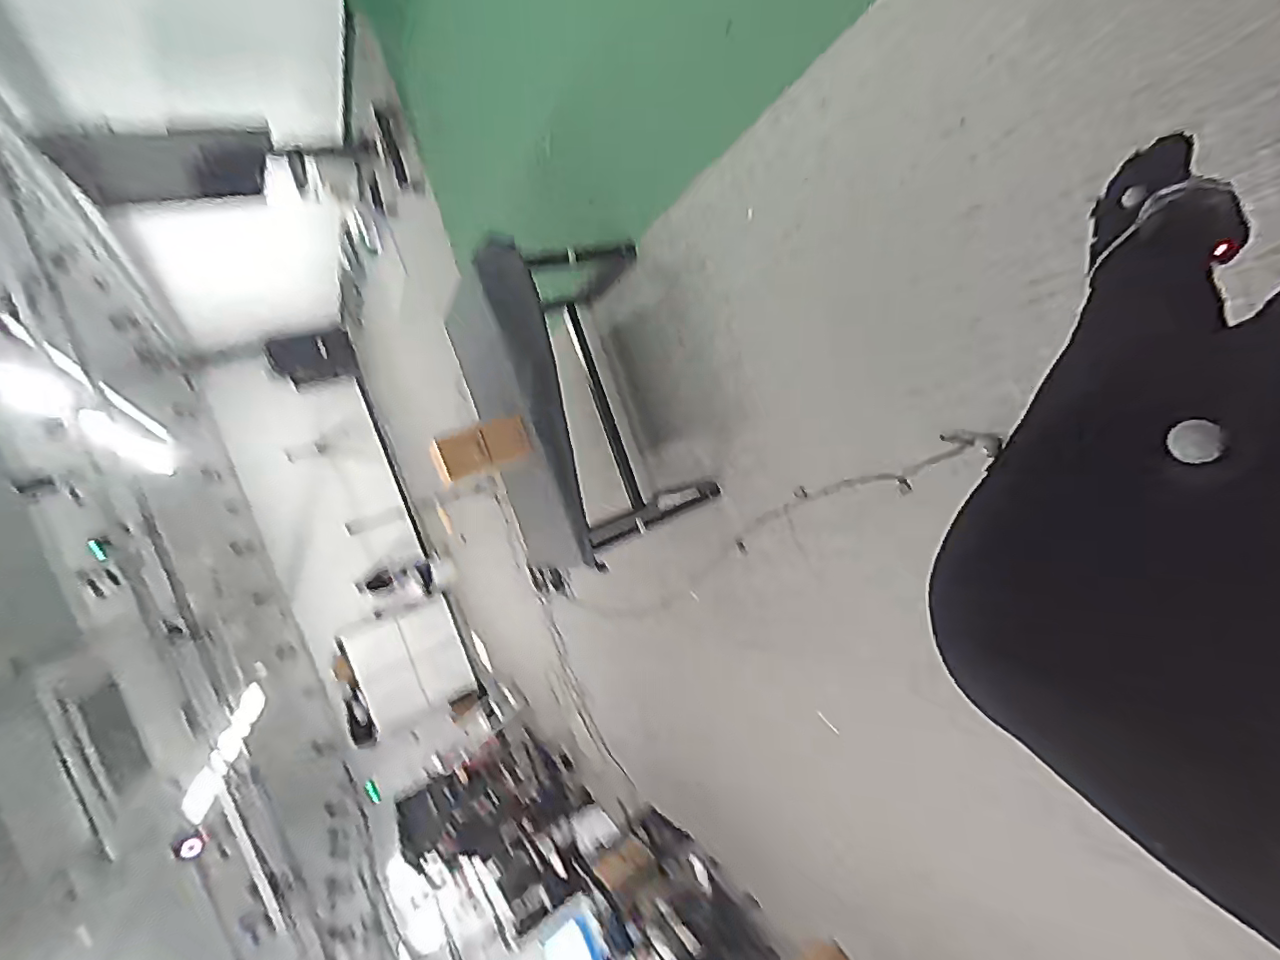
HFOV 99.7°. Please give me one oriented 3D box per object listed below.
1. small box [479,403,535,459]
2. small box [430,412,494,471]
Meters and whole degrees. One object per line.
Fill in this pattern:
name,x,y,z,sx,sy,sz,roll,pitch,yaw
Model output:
small box,-0.535,-0.196,2.115,0.168,0.176,0.179,-11,99,61
small box,-0.667,-0.143,2.037,0.179,0.176,0.168,-13,100,60
